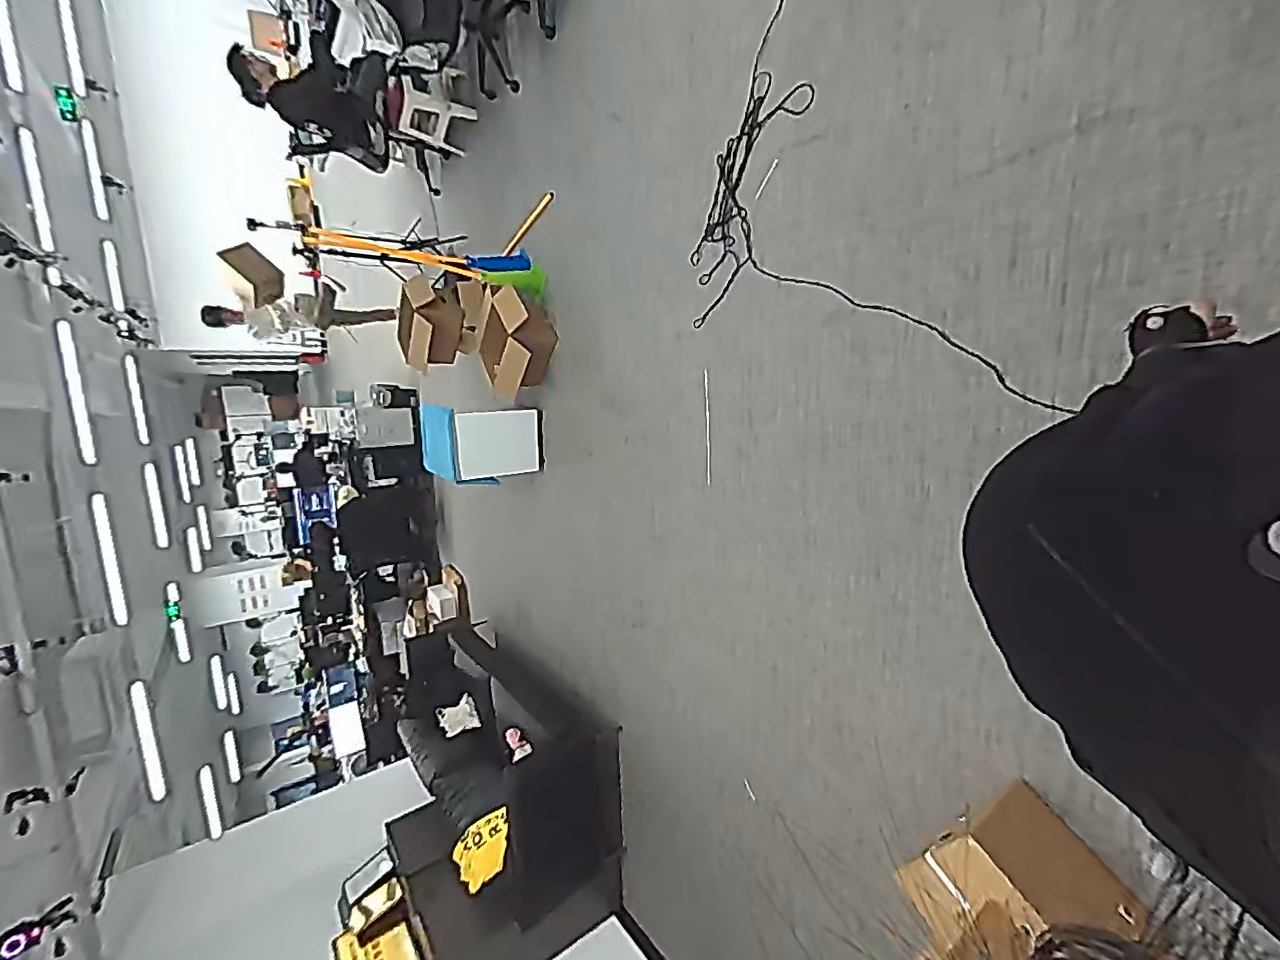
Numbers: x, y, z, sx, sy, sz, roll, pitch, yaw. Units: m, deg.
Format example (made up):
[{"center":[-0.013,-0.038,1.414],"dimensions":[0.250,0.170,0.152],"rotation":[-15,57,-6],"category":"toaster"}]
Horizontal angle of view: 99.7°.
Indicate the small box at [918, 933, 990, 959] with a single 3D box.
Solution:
[{"center":[0.649,1.078,1.090],"dimensions":[0.179,0.176,0.168],"rotation":[52,136,37],"category":"small box"}]
